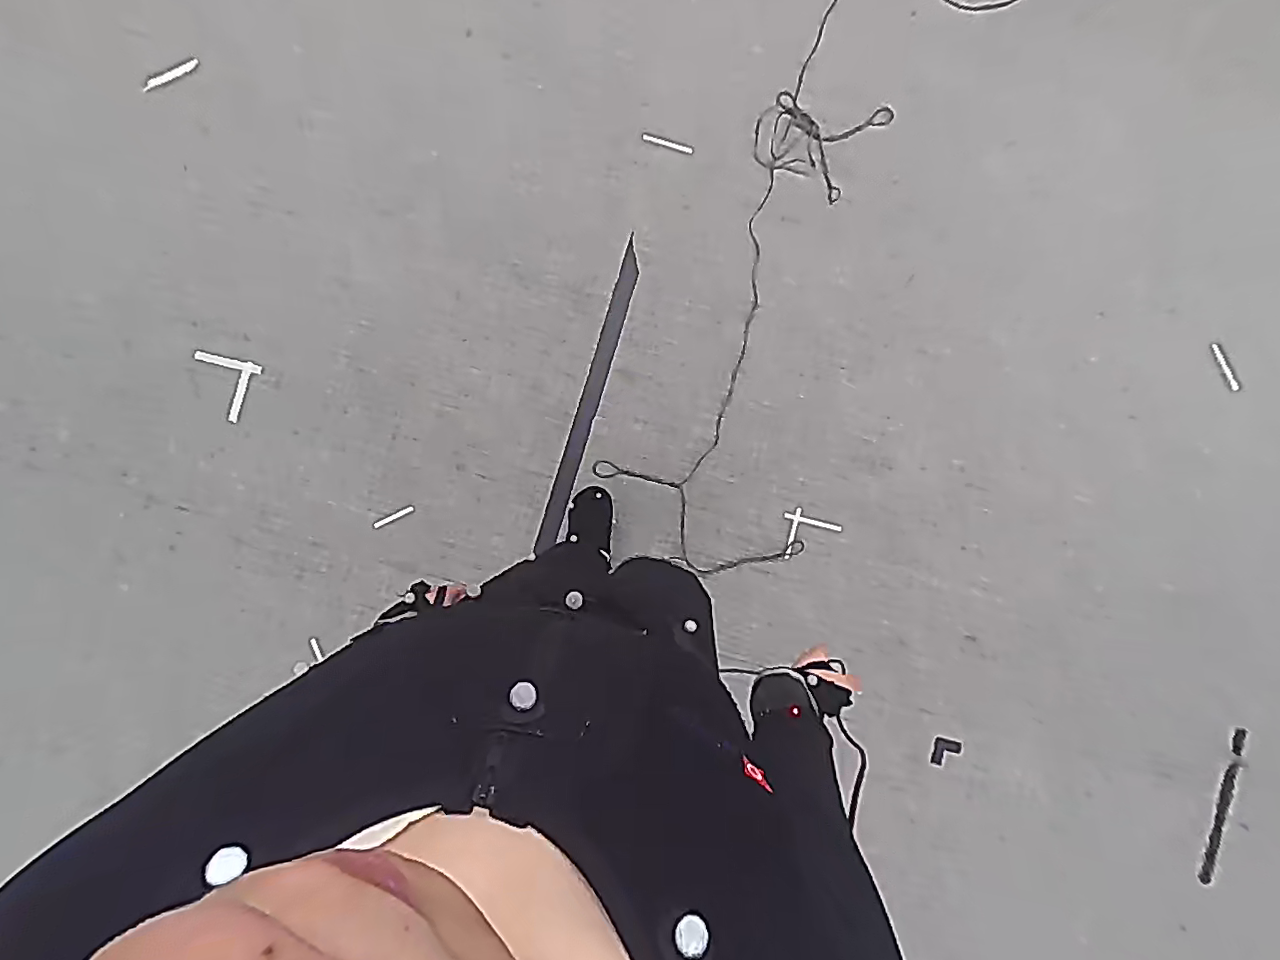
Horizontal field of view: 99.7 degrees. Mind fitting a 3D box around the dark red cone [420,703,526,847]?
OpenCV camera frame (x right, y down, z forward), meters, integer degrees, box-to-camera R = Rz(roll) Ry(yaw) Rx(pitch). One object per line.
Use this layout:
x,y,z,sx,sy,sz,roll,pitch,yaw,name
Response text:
-0.381,0.640,1.139,0.201,0.394,0.202,16,86,-2,dark red cone
